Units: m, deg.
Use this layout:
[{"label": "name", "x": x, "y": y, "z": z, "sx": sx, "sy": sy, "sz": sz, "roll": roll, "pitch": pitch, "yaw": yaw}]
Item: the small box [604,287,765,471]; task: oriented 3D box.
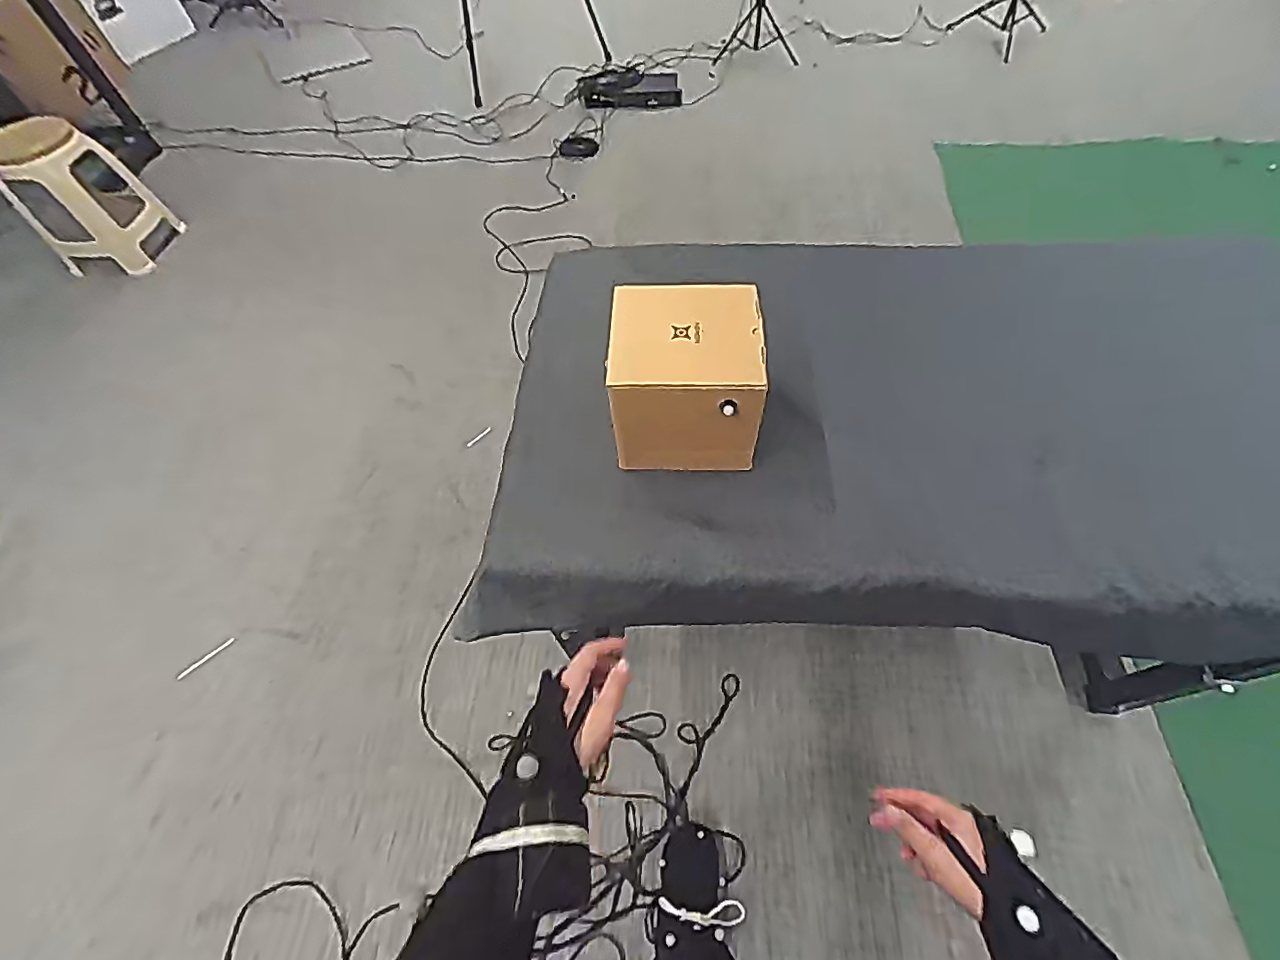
[{"label": "small box", "x": 0.055, "y": -0.122, "z": 0.686, "sx": 0.179, "sy": 0.176, "sz": 0.168, "roll": 1, "pitch": 58, "yaw": 3}]
